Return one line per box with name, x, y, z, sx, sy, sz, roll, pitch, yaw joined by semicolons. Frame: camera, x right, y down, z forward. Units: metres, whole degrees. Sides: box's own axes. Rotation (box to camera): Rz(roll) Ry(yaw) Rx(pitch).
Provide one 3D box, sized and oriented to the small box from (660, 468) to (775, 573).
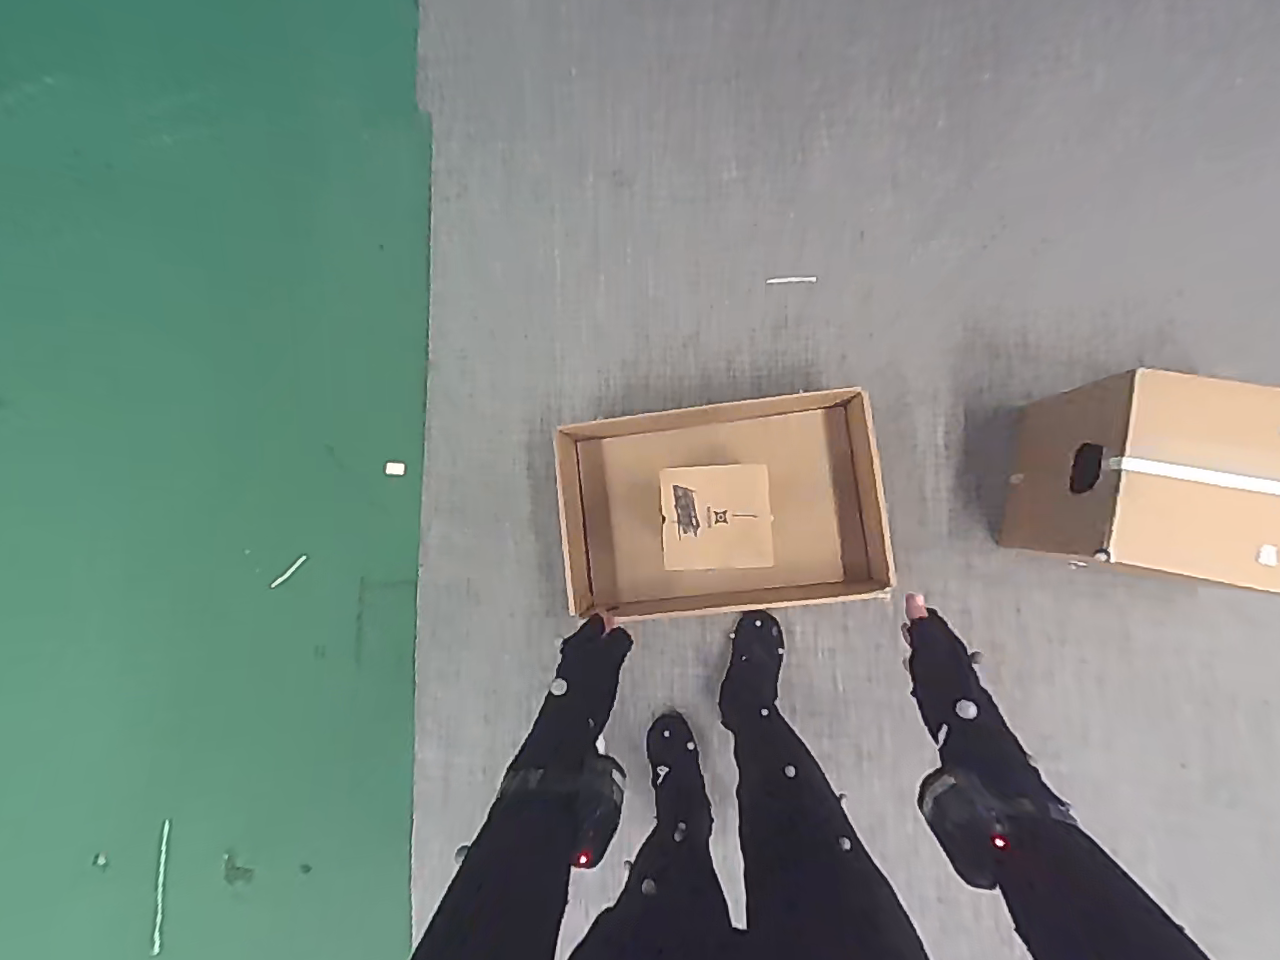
small box;0.132;0.071;0.936;0.179;0.176;0.168;-3;86;6
